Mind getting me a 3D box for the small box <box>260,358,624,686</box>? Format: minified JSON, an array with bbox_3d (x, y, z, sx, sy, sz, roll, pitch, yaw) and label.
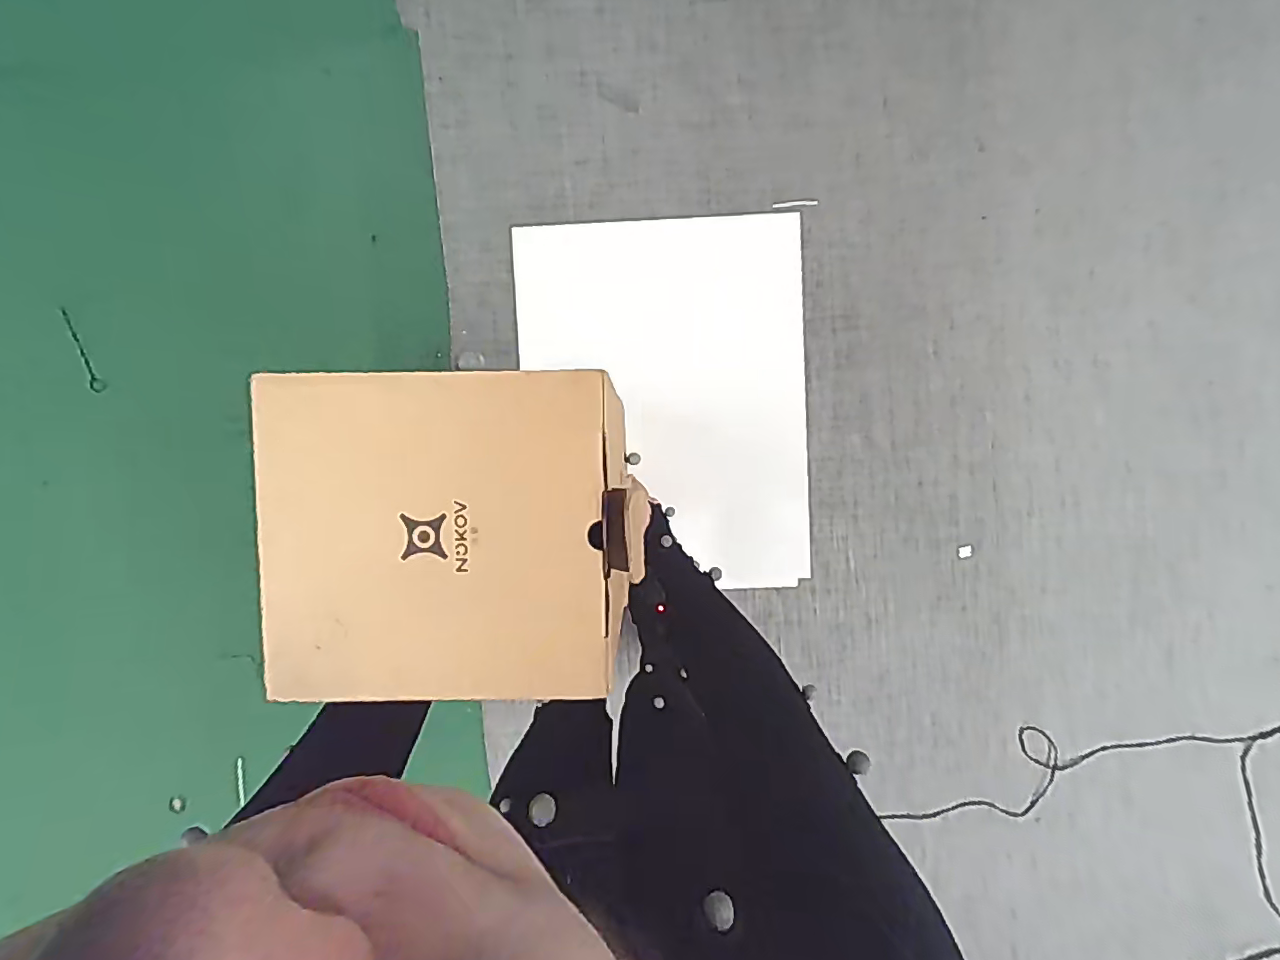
[{"bbox_3d":[-0.101,0.018,0.349,0.179,0.176,0.168,-1,93,0],"label":"small box"}]
